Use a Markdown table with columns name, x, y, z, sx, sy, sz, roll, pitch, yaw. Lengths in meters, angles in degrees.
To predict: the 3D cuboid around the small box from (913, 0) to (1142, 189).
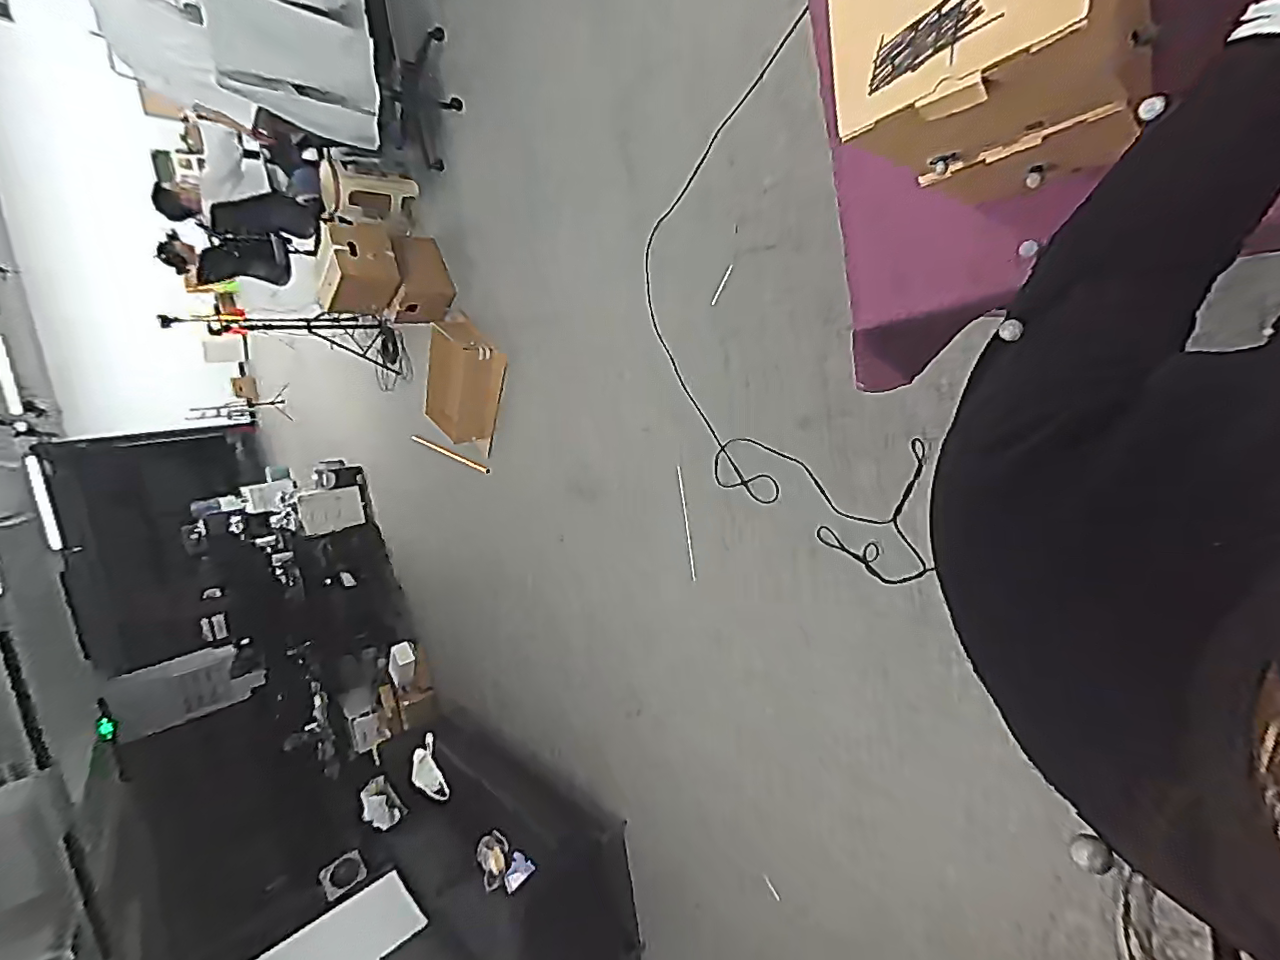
| name | x | y | z | sx | sy | sz | roll | pitch | yaw |
| --- | --- | --- | --- | --- | --- | --- | --- | --- | --- |
| small box | 0.387 | -0.413 | 0.545 | 0.168 | 0.176 | 0.179 | 1 | 103 | 47 |

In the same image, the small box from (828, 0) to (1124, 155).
| name | x | y | z | sx | sy | sz | roll | pitch | yaw |
| --- | --- | --- | --- | --- | --- | --- | --- | --- | --- |
| small box | 0.268 | -0.387 | 0.433 | 0.168 | 0.176 | 0.179 | 2 | 102 | 47 |
